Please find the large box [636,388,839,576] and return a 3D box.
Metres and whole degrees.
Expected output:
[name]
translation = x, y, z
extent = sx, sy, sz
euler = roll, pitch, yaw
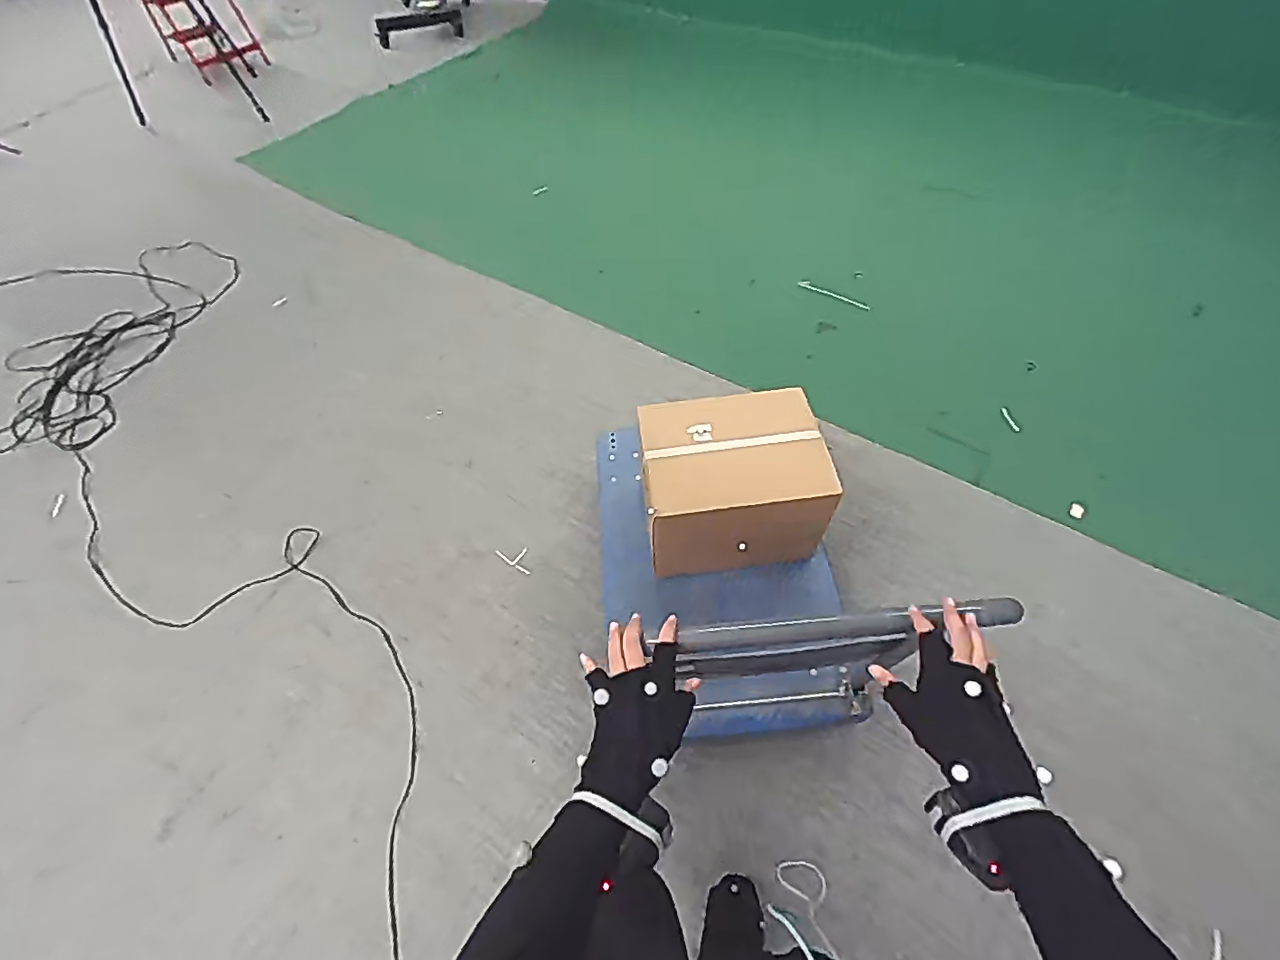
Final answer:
[large box]
translation = 0.216, 0.014, 1.344
extent = 0.408, 0.320, 0.320
euler = -9, 55, -2
